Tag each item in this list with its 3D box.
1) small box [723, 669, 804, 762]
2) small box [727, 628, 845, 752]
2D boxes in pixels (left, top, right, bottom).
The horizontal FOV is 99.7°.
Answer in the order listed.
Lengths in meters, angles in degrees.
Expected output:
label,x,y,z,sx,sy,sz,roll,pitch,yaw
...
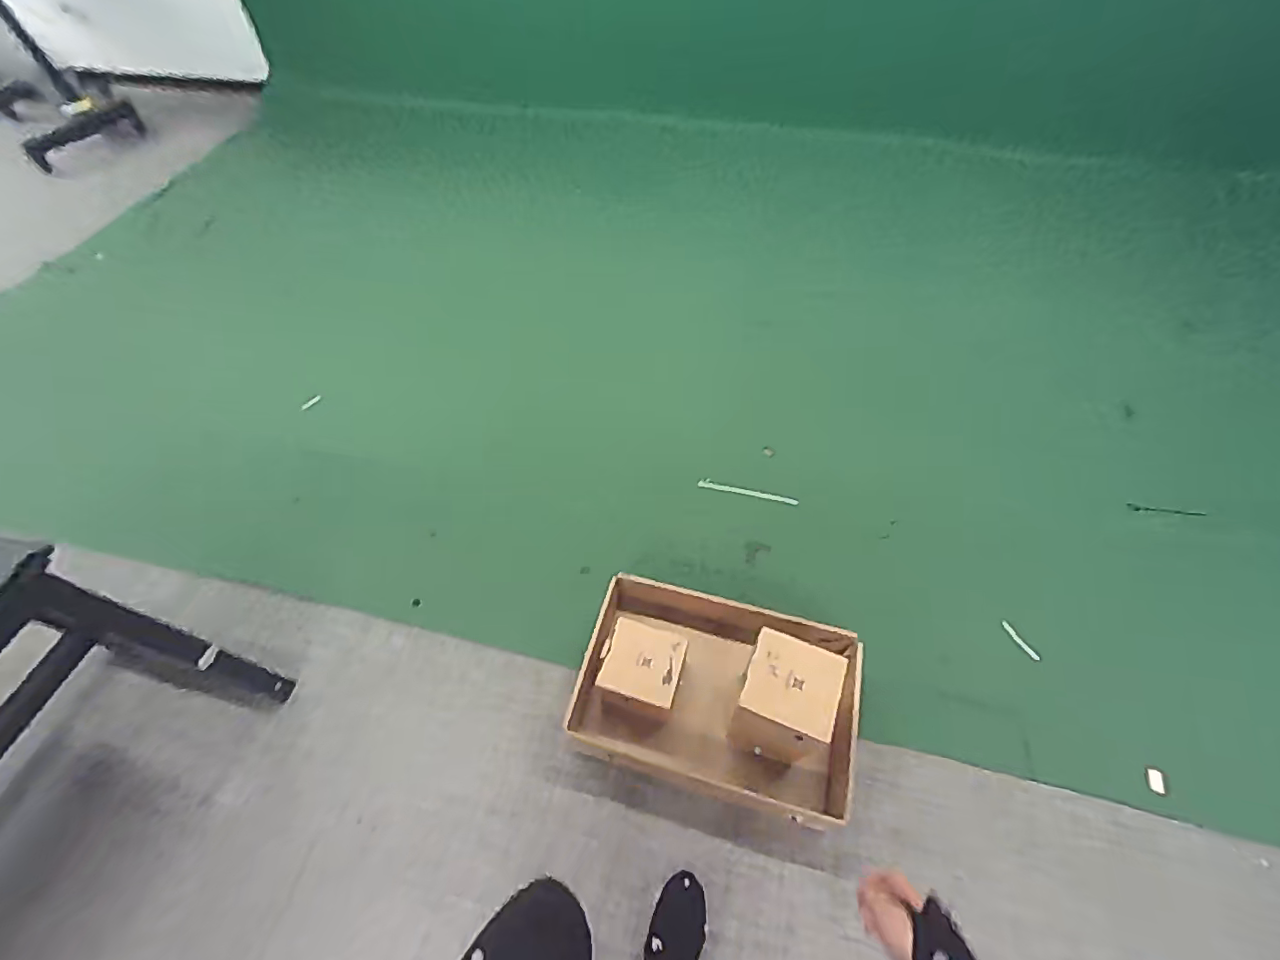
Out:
label,x,y,z,sx,sy,sz,roll,pitch,yaw
small box,0.296,0.519,1.236,0.168,0.176,0.179,19,60,14
small box,0.290,0.431,1.097,0.179,0.176,0.168,19,59,15
